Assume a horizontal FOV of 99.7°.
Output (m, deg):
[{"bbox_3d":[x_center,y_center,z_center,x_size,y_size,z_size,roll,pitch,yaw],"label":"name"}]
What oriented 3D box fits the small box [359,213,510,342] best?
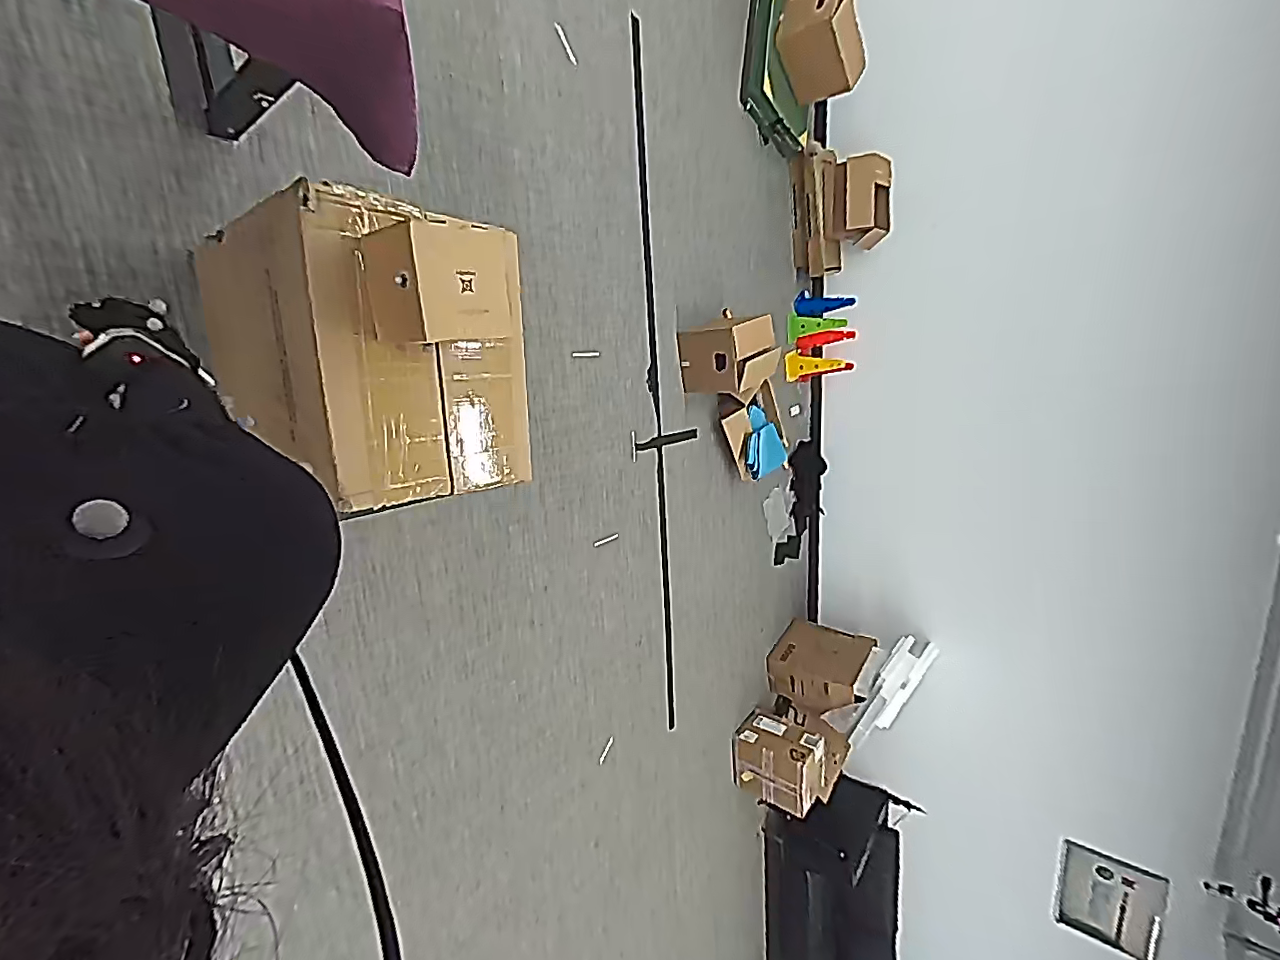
[{"bbox_3d":[-0.342,-0.324,0.899,0.168,0.176,0.179,-19,112,-47],"label":"small box"}]
